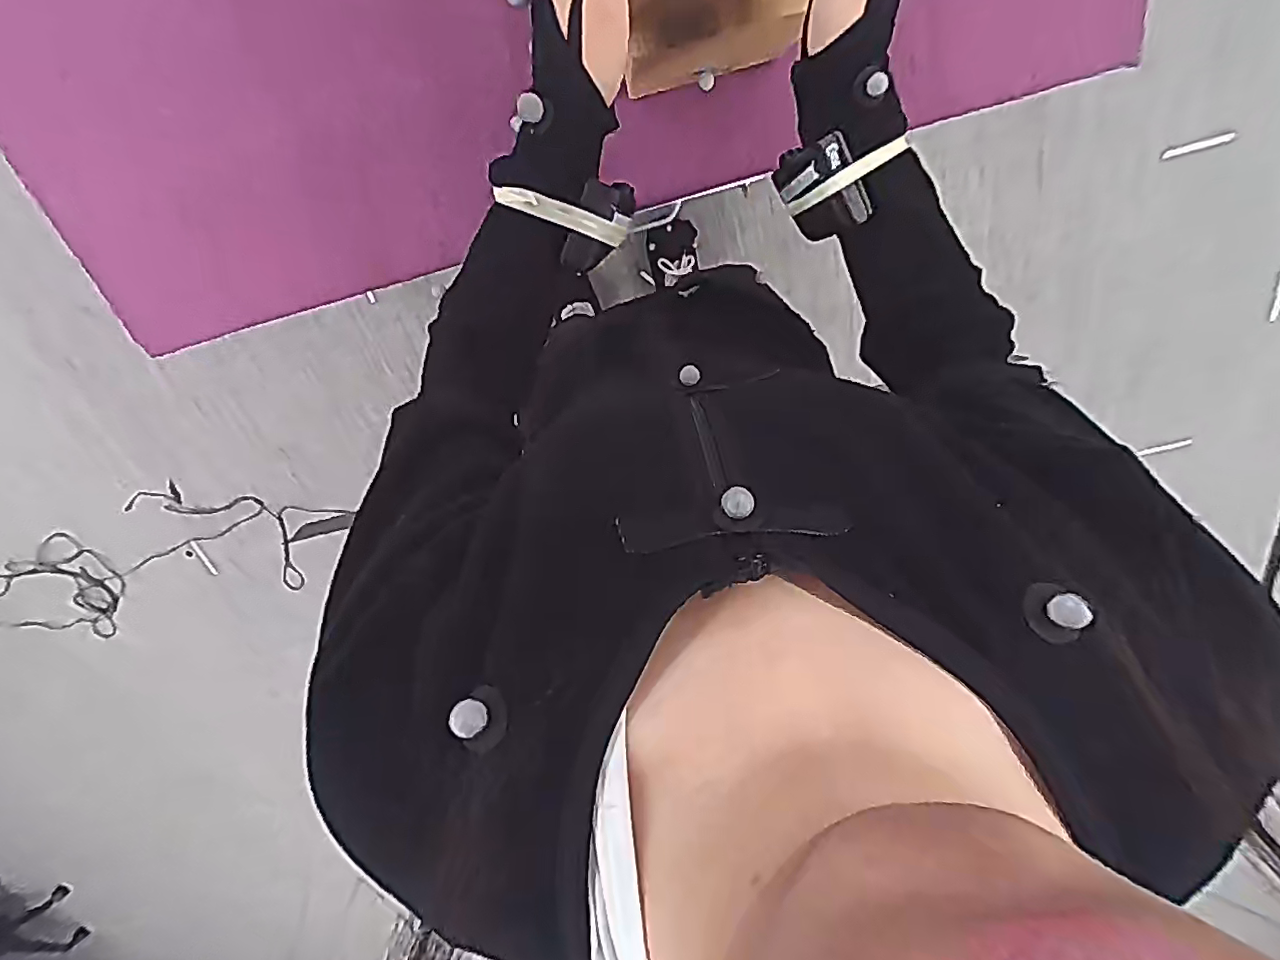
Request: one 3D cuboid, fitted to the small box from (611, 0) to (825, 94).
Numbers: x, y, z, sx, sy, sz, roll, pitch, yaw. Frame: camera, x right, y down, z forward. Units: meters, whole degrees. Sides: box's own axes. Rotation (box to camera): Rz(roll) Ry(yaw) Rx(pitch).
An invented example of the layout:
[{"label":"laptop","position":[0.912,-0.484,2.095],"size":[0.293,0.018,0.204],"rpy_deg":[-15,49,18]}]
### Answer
[{"label":"small box","position":[0.048,-0.470,0.467],"size":[0.168,0.176,0.179],"rpy_deg":[-12,117,5]}]
